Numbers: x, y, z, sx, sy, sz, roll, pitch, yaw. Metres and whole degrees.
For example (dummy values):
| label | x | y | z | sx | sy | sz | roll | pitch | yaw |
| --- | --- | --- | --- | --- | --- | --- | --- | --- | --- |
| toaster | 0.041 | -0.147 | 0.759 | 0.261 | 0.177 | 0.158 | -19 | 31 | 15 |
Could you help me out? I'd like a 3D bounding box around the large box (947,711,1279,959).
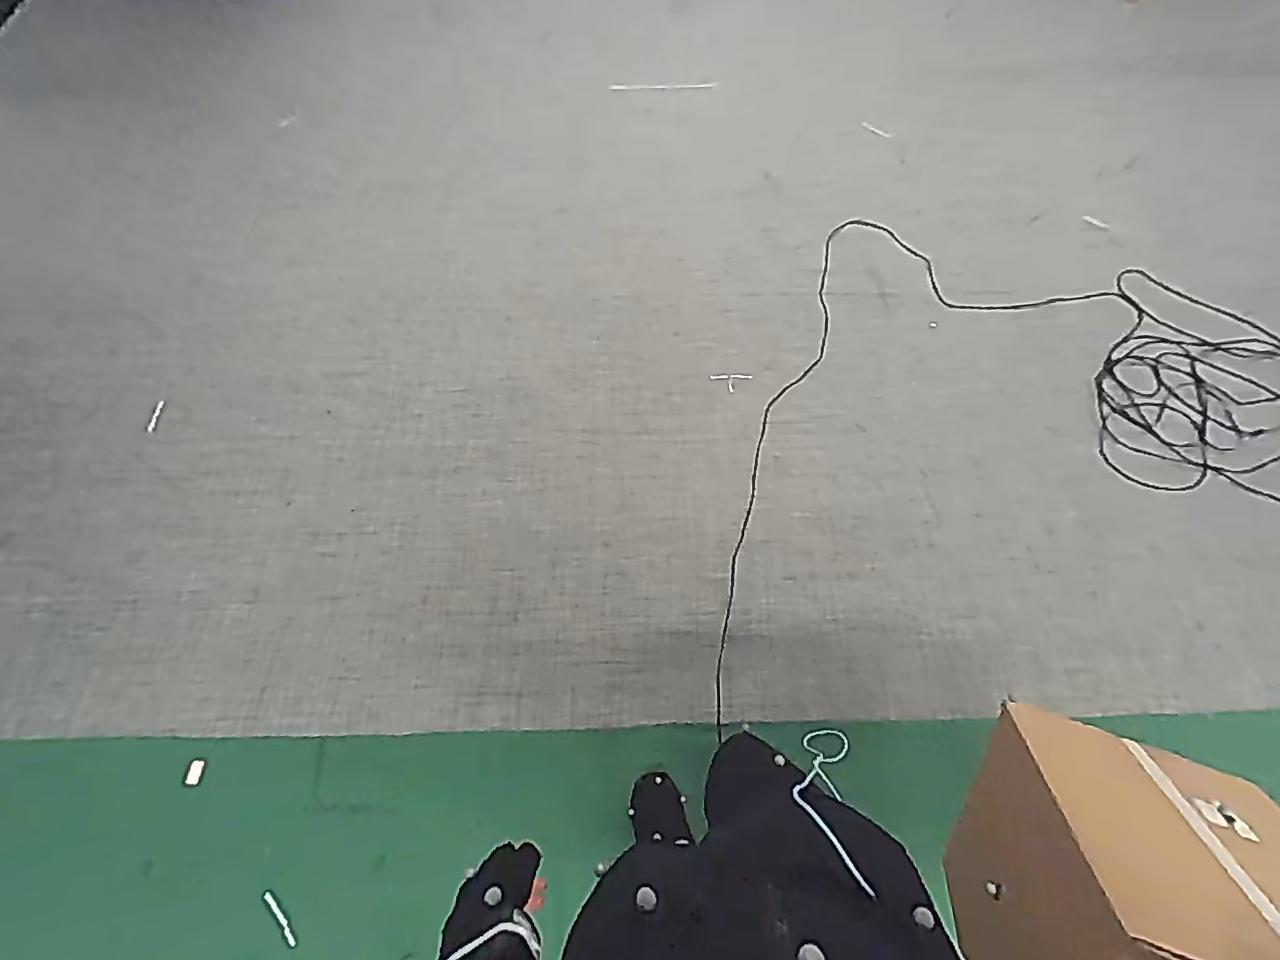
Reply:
| label | x | y | z | sx | sy | sz | roll | pitch | yaw |
| --- | --- | --- | --- | --- | --- | --- | --- | --- | --- |
| large box | 0.606 | 0.564 | 0.639 | 0.320 | 0.408 | 0.320 | 17 | 103 | 18 |
